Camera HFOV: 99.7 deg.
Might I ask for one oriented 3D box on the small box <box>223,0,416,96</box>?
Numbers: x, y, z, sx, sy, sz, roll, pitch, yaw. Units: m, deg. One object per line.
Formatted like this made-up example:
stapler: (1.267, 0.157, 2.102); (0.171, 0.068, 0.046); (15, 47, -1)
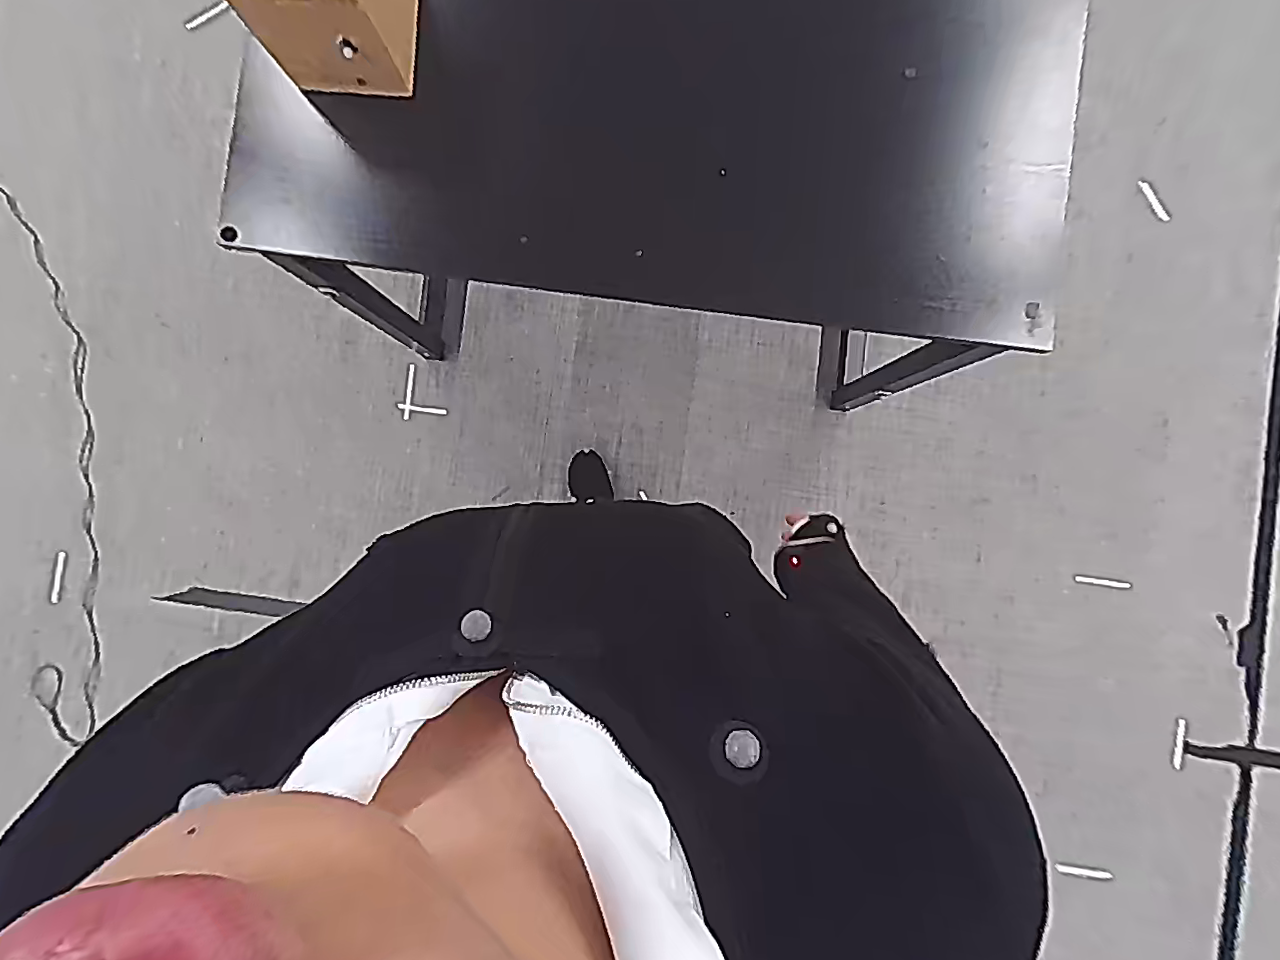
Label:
small box: (-0.400, -0.634, 0.690); (0.168, 0.176, 0.179); (3, 88, -2)
